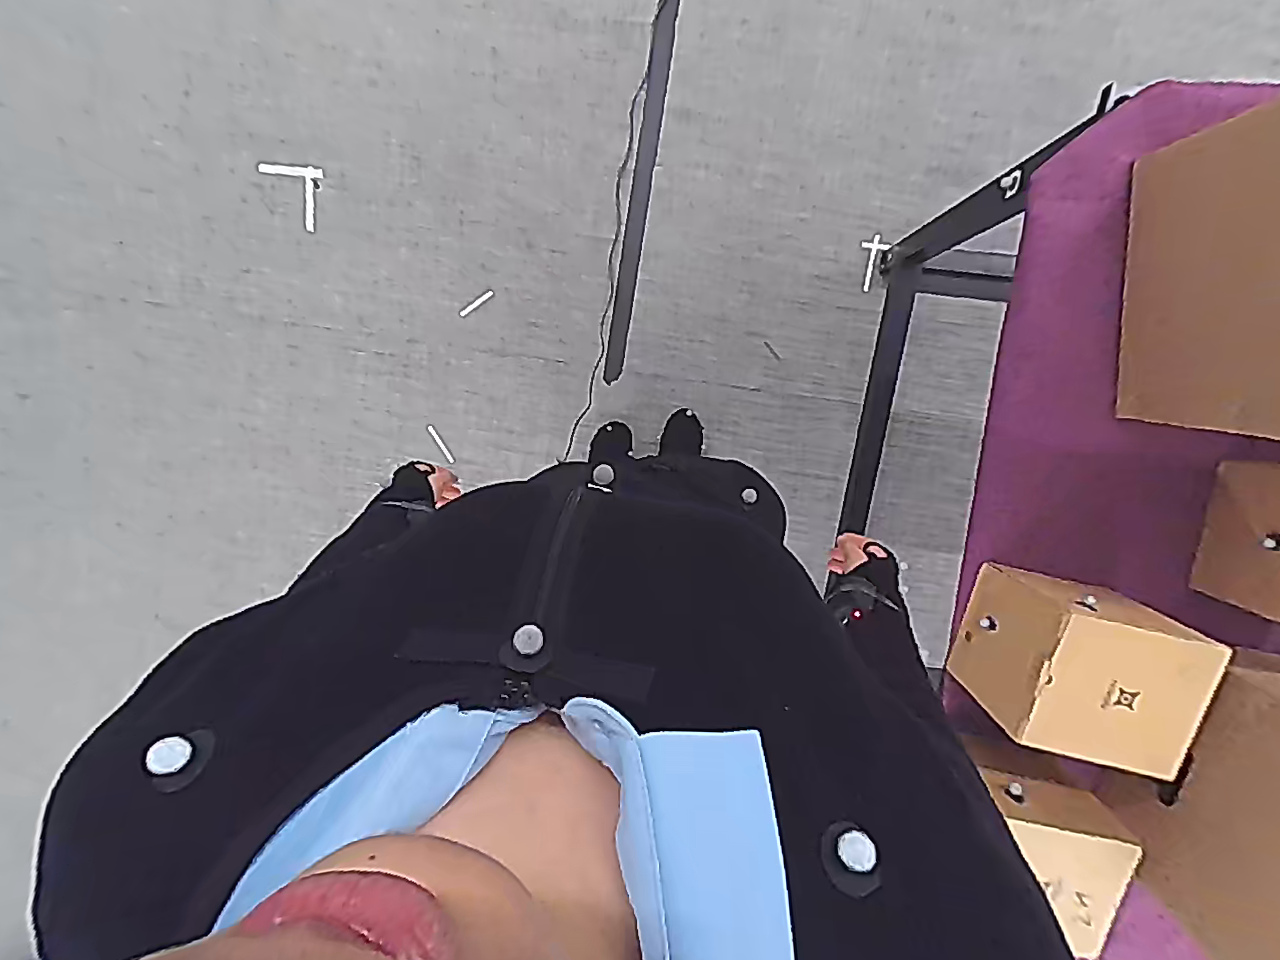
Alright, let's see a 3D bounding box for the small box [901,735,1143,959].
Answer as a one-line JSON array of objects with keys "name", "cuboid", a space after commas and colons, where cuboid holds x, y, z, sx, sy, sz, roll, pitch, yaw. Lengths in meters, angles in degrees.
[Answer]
[{"name": "small box", "cuboid": [0.475, 0.466, 0.706, 0.179, 0.176, 0.168, 11, 101, 0]}]
